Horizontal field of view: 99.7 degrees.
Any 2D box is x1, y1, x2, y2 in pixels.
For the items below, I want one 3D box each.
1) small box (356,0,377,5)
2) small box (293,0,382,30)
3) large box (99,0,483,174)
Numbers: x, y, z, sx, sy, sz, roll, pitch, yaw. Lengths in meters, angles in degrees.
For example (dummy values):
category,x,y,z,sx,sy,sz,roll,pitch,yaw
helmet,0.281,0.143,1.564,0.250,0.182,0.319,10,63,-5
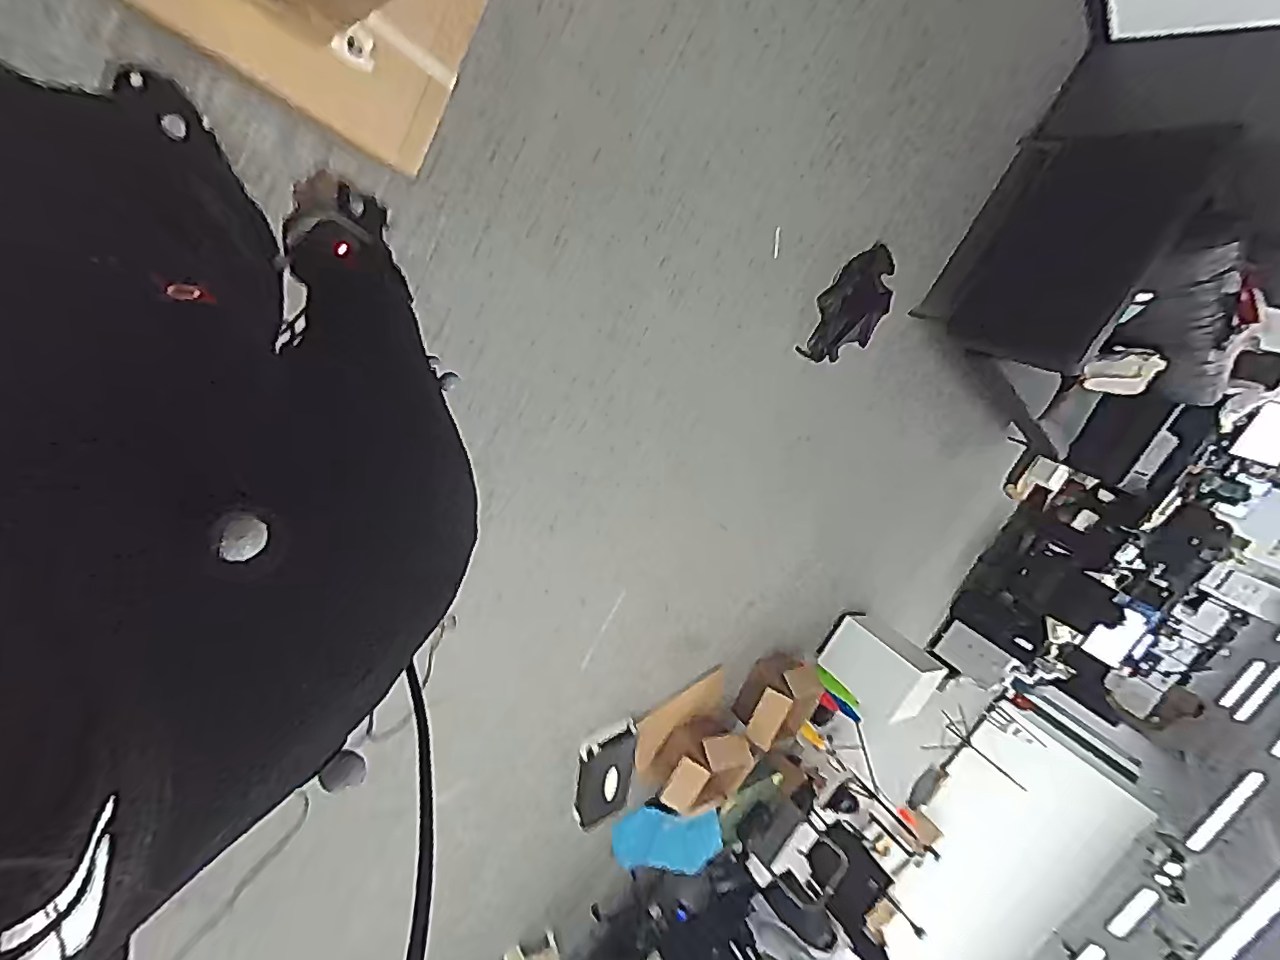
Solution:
category,x,y,z,sx,sy,sz,roll,pitch,yaw
small box,-0.223,-0.502,0.393,0.168,0.176,0.179,21,101,-47
small box,-0.311,-0.577,0.507,0.168,0.176,0.179,24,100,-46
large box,-0.522,-0.738,0.818,0.408,0.320,0.320,17,107,-46
